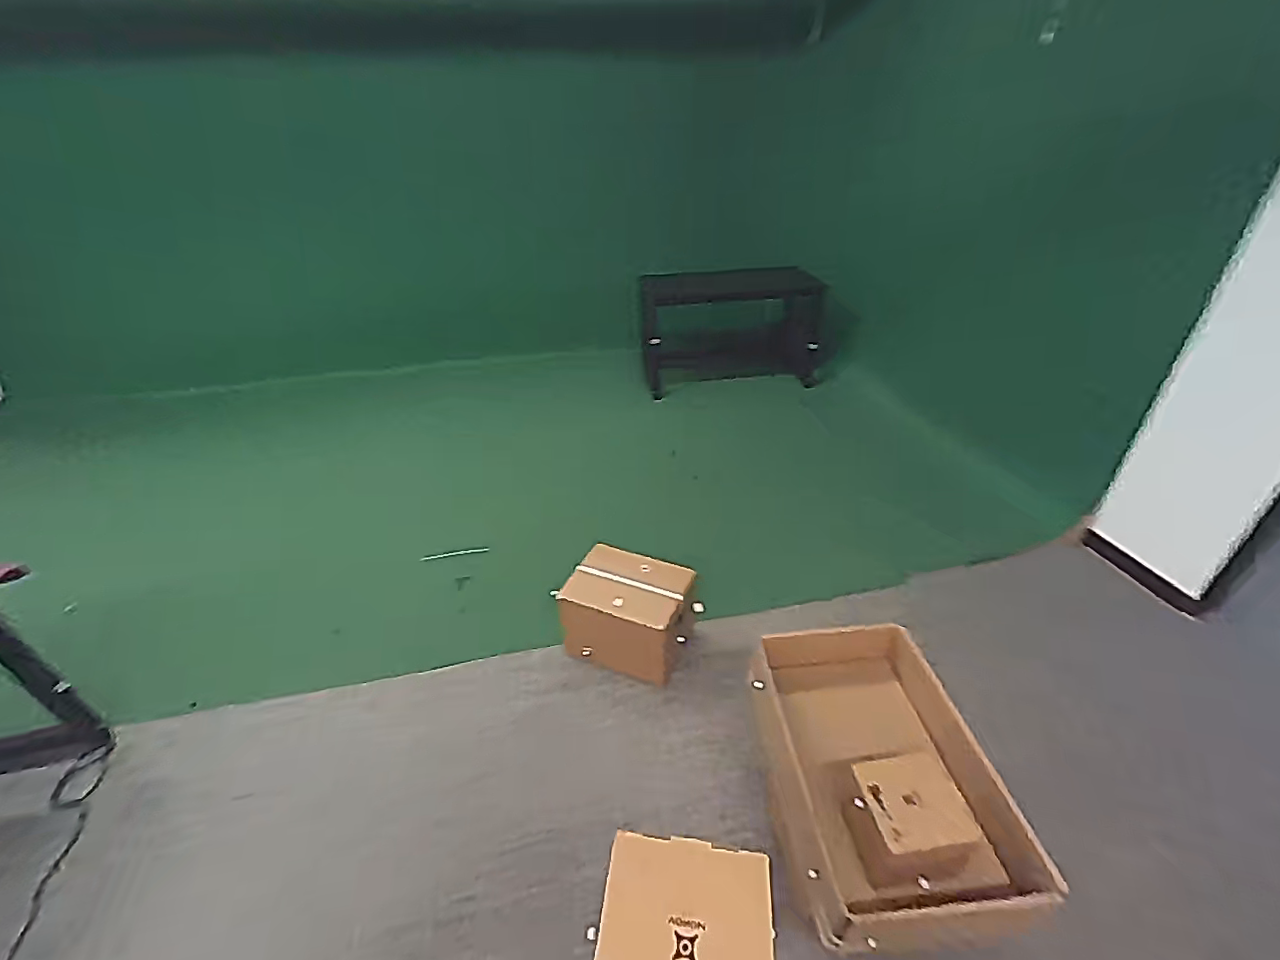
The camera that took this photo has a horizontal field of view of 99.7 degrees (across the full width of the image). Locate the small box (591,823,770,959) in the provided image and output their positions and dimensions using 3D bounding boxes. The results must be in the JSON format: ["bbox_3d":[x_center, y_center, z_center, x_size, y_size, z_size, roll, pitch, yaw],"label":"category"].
[{"bbox_3d":[0.037,0.495,0.554,0.168,0.176,0.179,6,35,6],"label":"small box"}]
